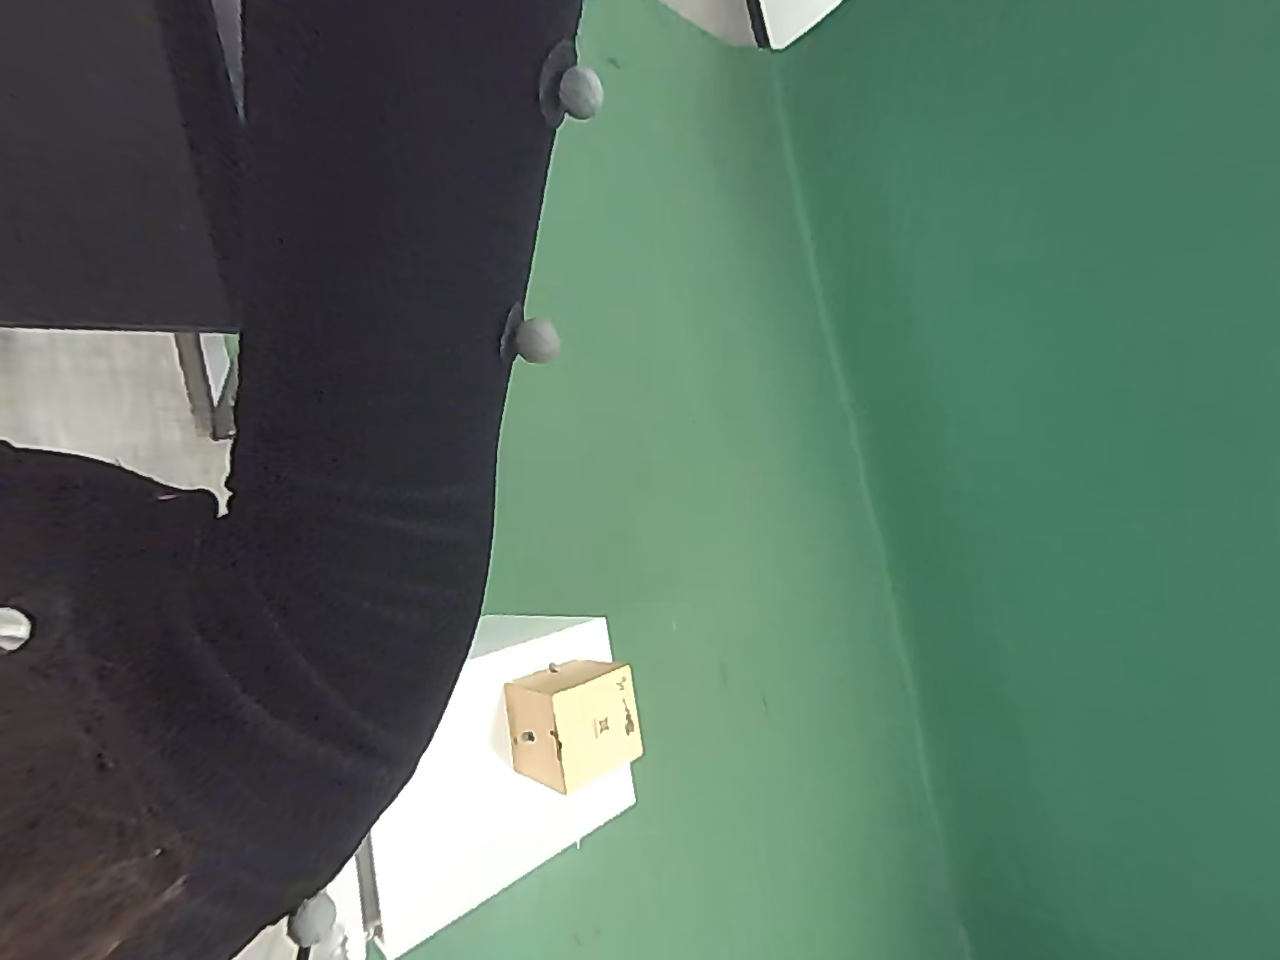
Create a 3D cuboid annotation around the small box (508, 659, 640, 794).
[{"bbox_3d":[-0.128,0.438,0.991,0.179,0.176,0.168,-5,84,-43],"label":"small box"}]
